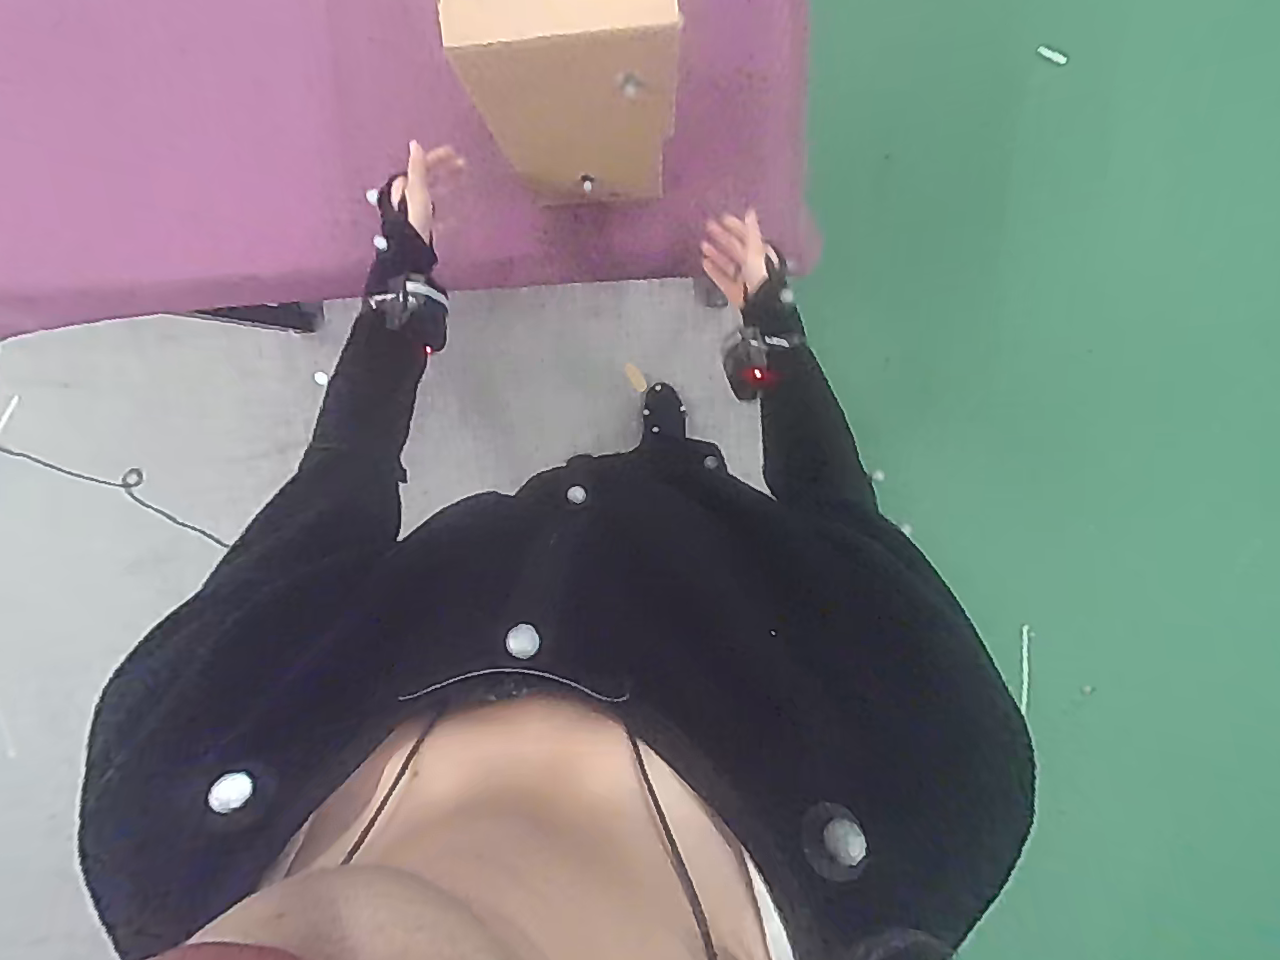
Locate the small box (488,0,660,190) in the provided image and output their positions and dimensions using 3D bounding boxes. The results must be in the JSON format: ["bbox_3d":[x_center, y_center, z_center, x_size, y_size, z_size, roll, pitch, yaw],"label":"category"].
[{"bbox_3d":[-0.063,-0.448,0.614,0.168,0.176,0.179,-2,99,3],"label":"small box"}]
